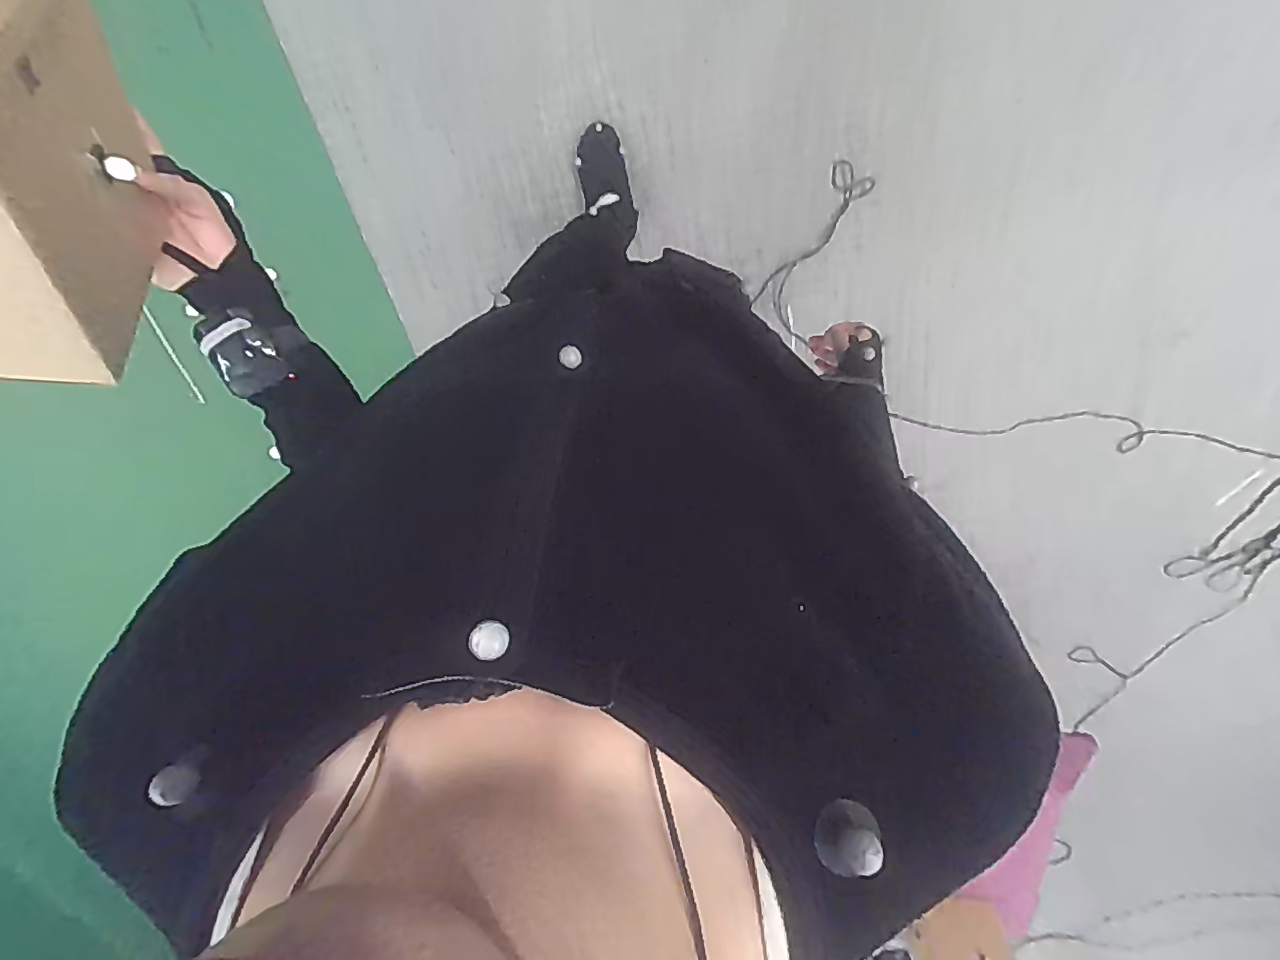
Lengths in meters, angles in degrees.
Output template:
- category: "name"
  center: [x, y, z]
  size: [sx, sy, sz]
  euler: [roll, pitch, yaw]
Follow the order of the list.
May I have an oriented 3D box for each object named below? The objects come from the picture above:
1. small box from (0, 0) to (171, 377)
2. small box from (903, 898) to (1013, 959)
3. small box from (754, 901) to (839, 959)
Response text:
- category: "small box"
  center: [-0.368, -0.170, 0.255]
  size: [0.179, 0.168, 0.176]
  euler: [0, 150, -26]
- category: "small box"
  center: [0.746, 1.109, 1.255]
  size: [0.179, 0.176, 0.168]
  euler: [2, 117, 2]
- category: "small box"
  center: [0.378, 1.140, 1.286]
  size: [0.179, 0.176, 0.168]
  euler: [-10, 115, 6]
